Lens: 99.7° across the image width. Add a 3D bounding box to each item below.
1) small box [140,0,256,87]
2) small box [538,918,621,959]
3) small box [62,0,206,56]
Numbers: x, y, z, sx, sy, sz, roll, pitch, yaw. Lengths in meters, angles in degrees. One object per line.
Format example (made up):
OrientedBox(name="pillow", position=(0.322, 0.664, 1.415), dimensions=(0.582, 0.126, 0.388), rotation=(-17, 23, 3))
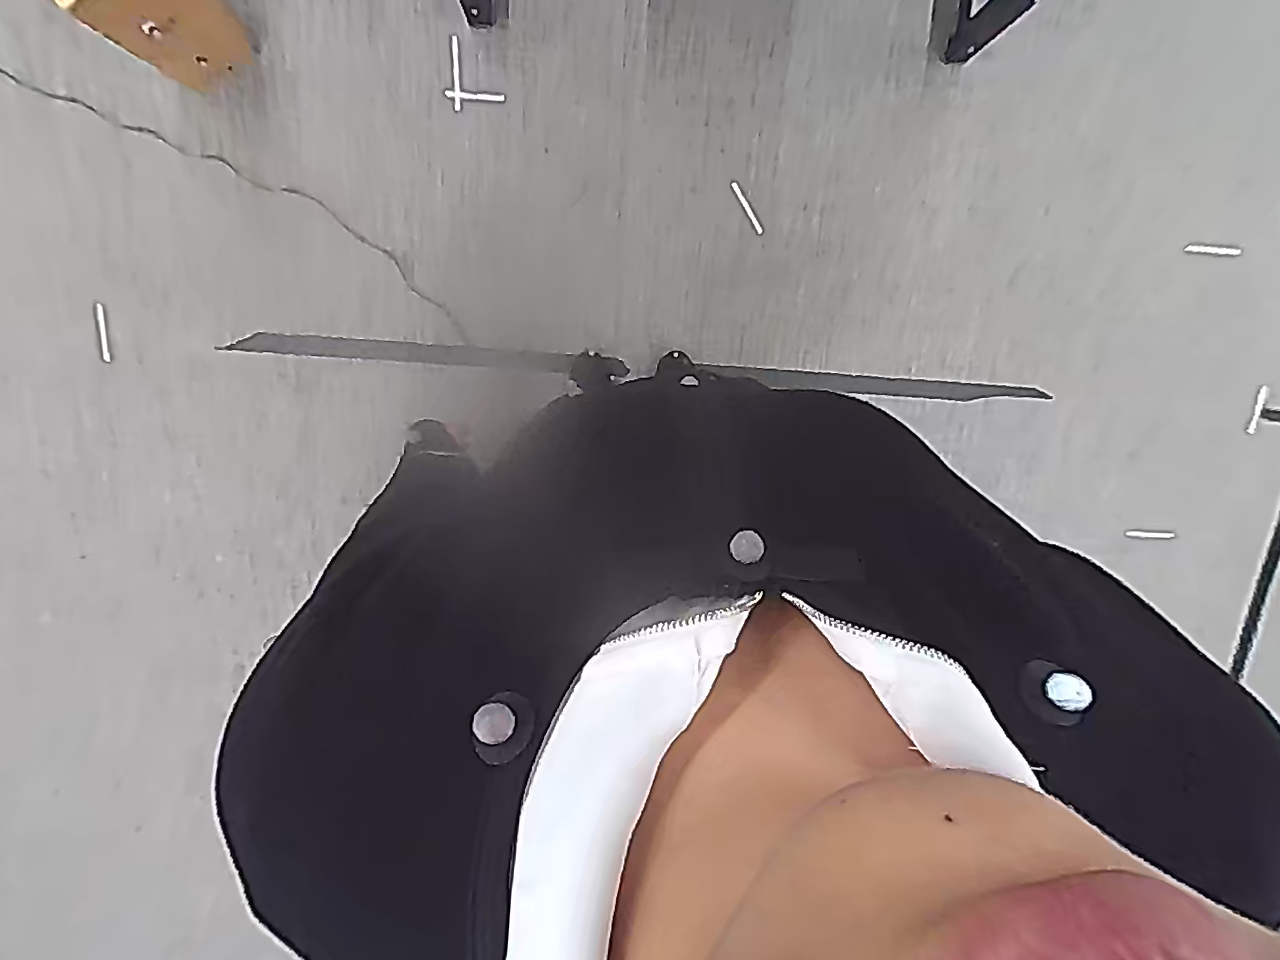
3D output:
OrientedBox(name="small box", position=(-0.974, -0.979, 1.144), dimensions=(0.168, 0.176, 0.179), rotation=(-29, 102, 2))
OrientedBox(name="small box", position=(-0.132, 1.106, 1.179), dimensions=(0.179, 0.176, 0.168), rotation=(-6, 100, -1))
OrientedBox(name="small box", position=(-0.967, -0.940, 0.985), dimensions=(0.168, 0.176, 0.179), rotation=(-33, 104, 6))
